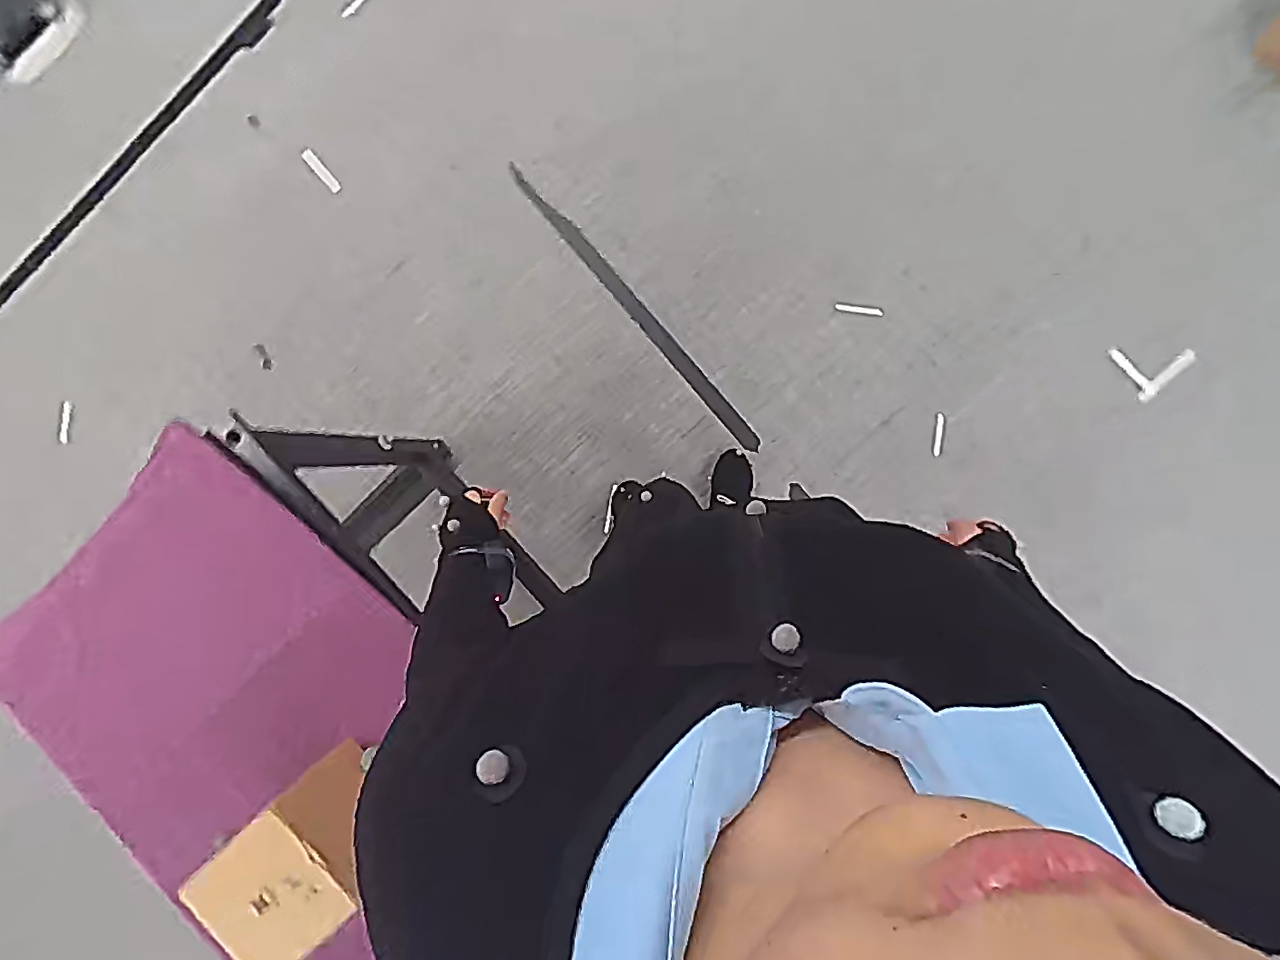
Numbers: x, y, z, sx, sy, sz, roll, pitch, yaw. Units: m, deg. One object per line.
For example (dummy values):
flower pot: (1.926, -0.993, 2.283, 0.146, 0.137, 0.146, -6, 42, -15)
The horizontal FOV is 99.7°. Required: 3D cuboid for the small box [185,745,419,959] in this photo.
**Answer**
small box: (-0.444, 0.514, 0.742, 0.179, 0.176, 0.168, -44, 89, 4)
